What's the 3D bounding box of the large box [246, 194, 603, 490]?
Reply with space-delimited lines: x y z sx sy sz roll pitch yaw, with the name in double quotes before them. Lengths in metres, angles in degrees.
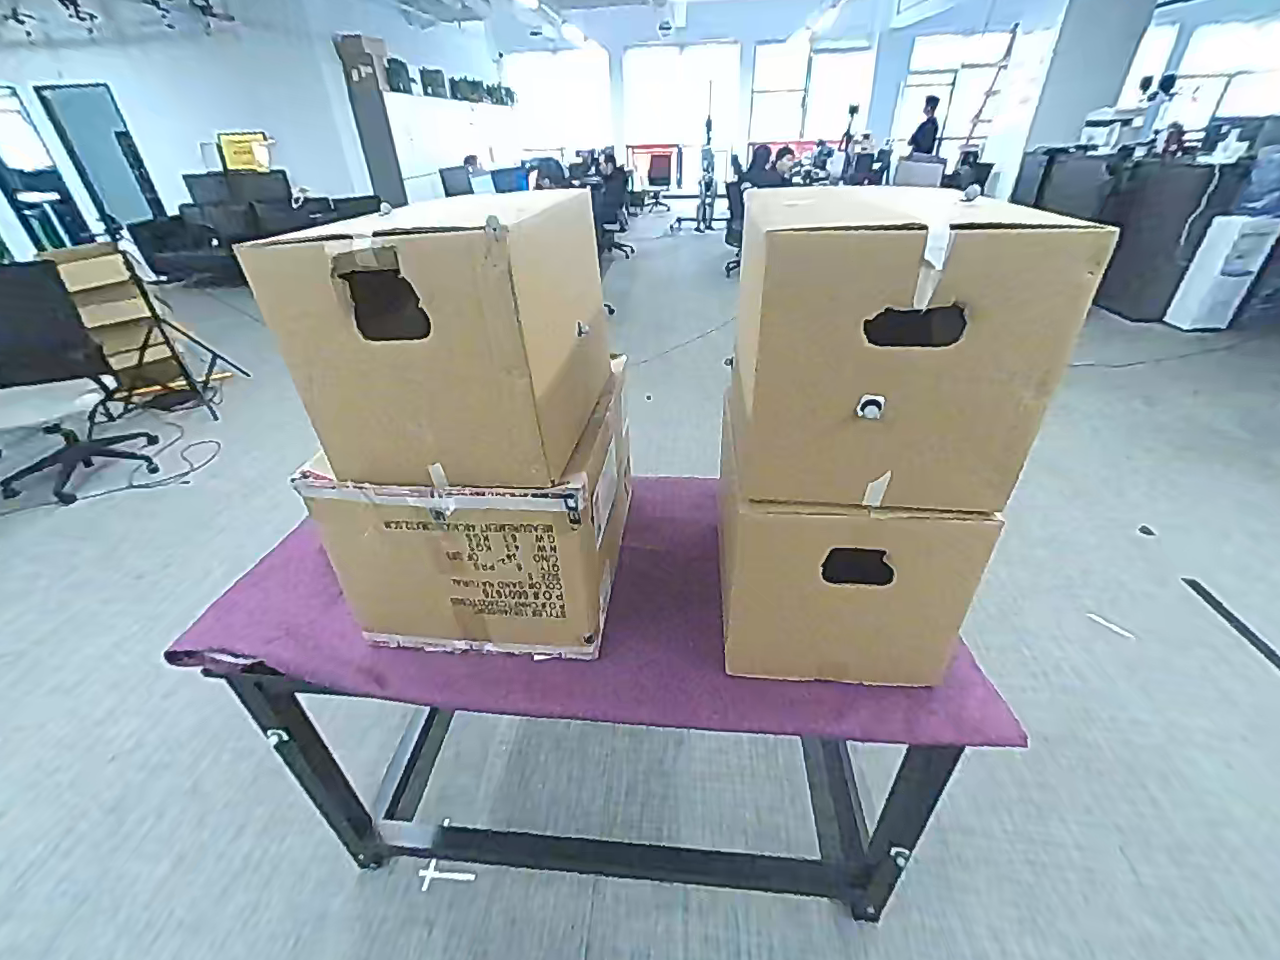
"large box" -0.247 -0.223 0.807 0.320 0.320 0.408 -1 33 9
